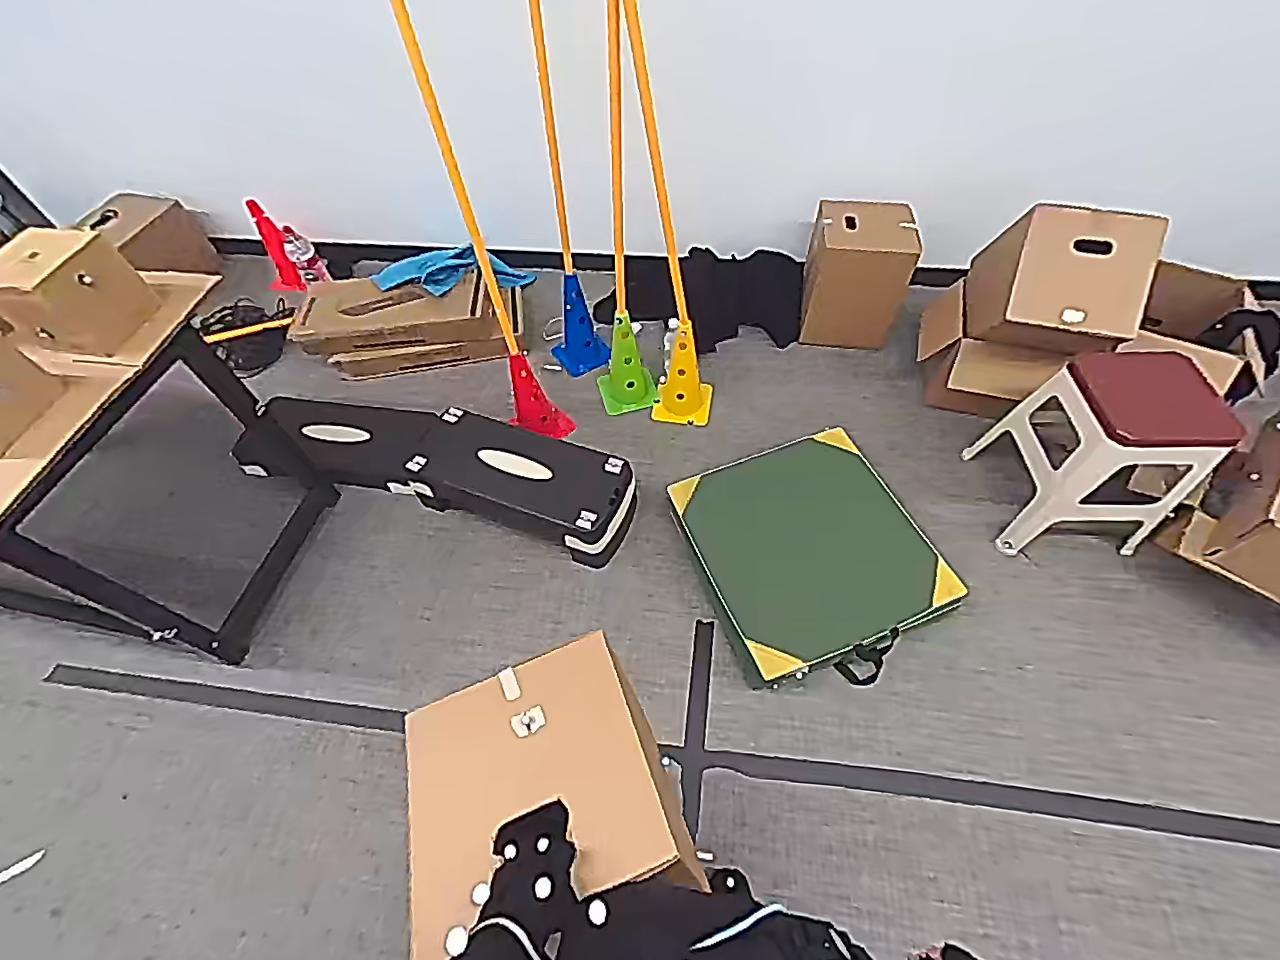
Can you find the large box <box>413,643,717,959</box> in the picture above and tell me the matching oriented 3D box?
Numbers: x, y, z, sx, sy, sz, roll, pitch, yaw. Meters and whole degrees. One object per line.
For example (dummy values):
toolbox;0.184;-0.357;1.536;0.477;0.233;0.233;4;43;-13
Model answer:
large box;-0.106;0.522;0.842;0.320;0.408;0.320;-22;45;-4
